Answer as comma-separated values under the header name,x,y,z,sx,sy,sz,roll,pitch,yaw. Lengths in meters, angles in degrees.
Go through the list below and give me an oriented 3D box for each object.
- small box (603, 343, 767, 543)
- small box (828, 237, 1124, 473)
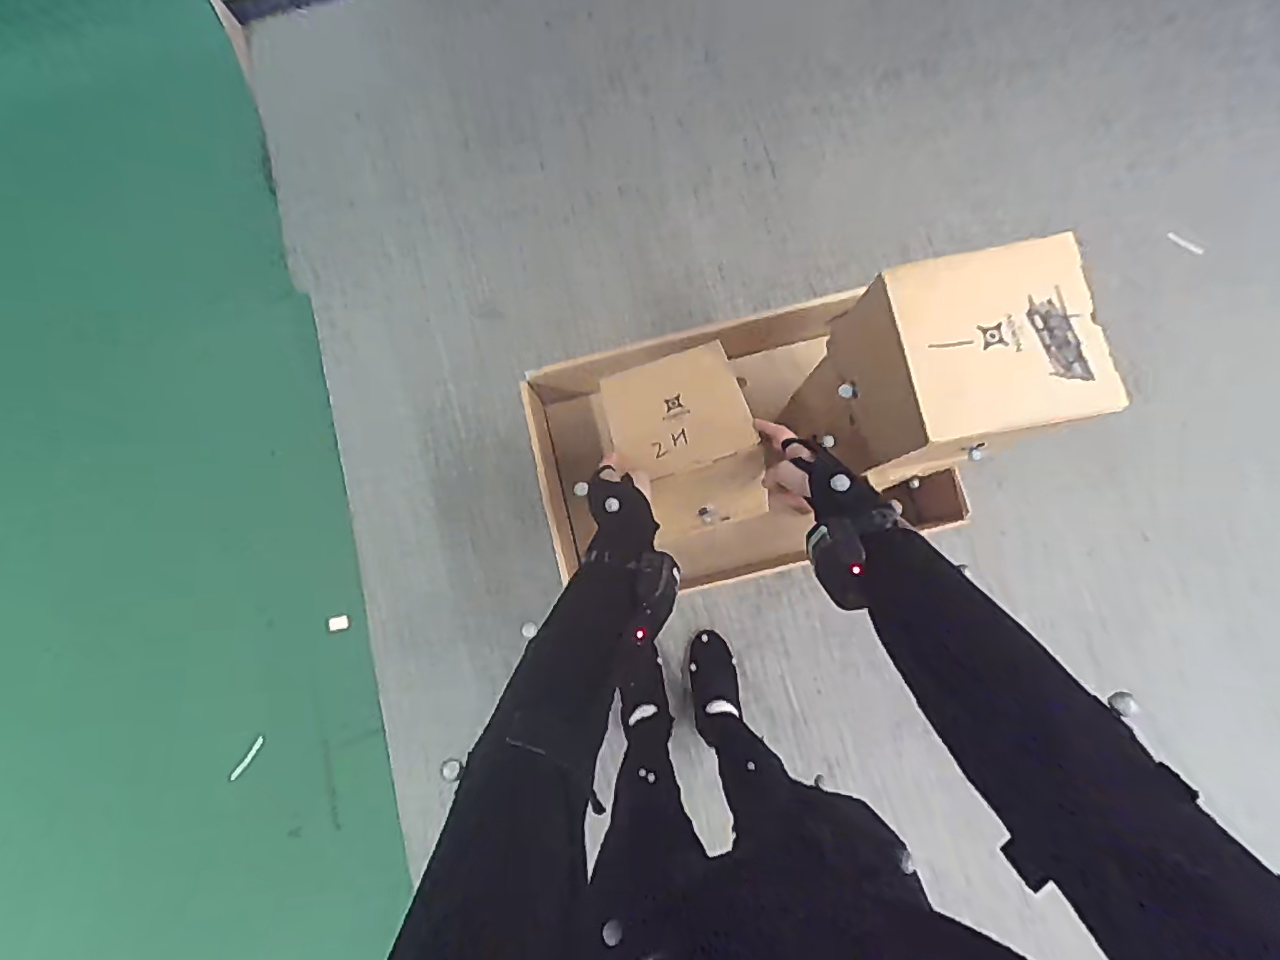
name,x,y,z,sx,sy,sz,roll,pitch,yaw
small box,0.062,-0.043,0.716,0.168,0.176,0.179,-17,57,6
small box,0.315,-0.111,0.548,0.179,0.176,0.168,-11,80,2
